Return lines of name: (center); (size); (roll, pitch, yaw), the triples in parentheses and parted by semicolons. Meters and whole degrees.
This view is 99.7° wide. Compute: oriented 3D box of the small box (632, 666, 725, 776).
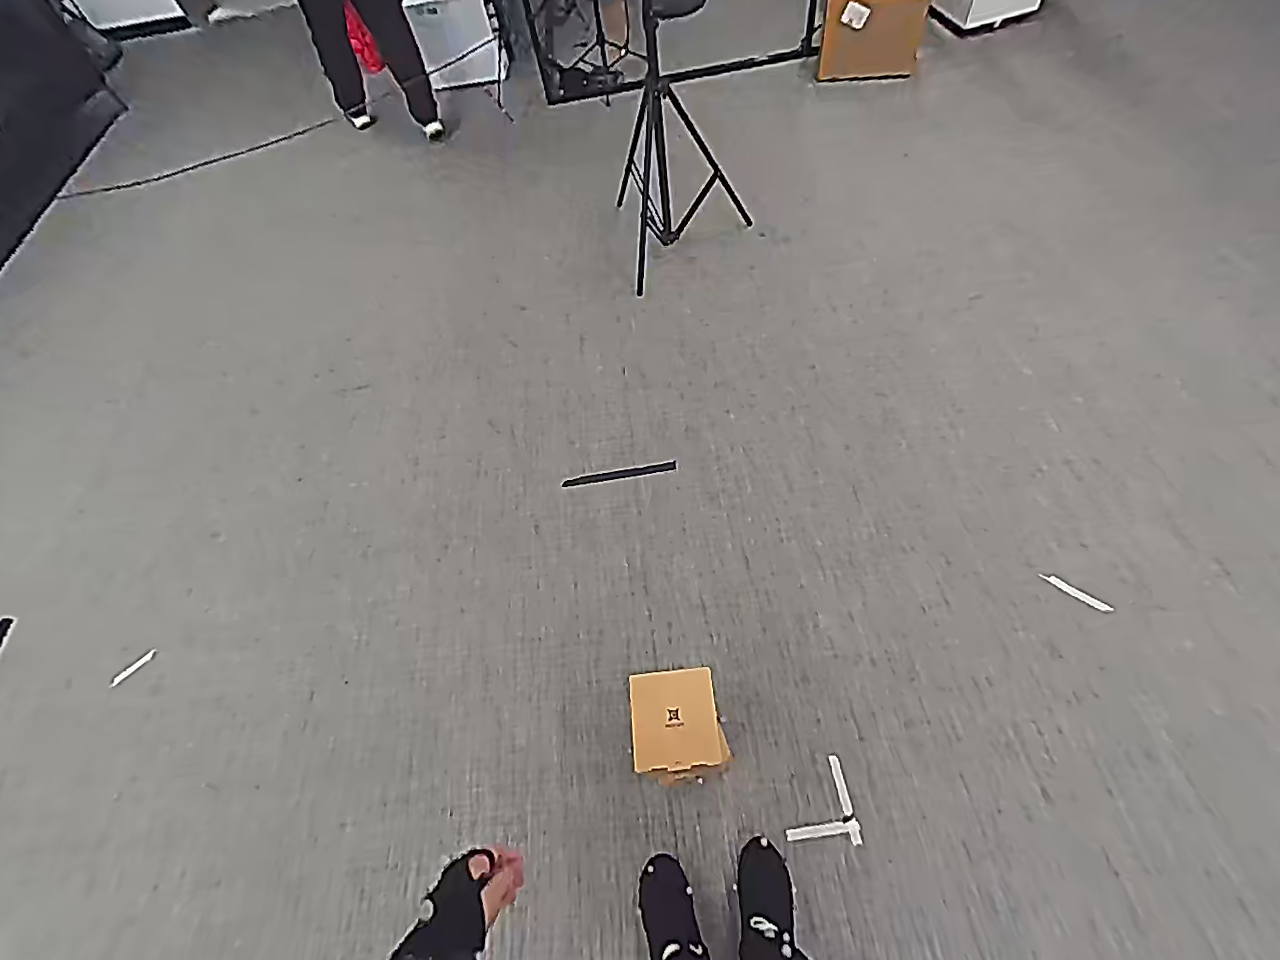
small box: (0.077, 0.494, 1.100); (0.168, 0.176, 0.179); (-8, 59, 3)

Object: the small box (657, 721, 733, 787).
small box: (0.103, 0.581, 1.235); (0.168, 0.176, 0.179); (-19, 59, -2)
